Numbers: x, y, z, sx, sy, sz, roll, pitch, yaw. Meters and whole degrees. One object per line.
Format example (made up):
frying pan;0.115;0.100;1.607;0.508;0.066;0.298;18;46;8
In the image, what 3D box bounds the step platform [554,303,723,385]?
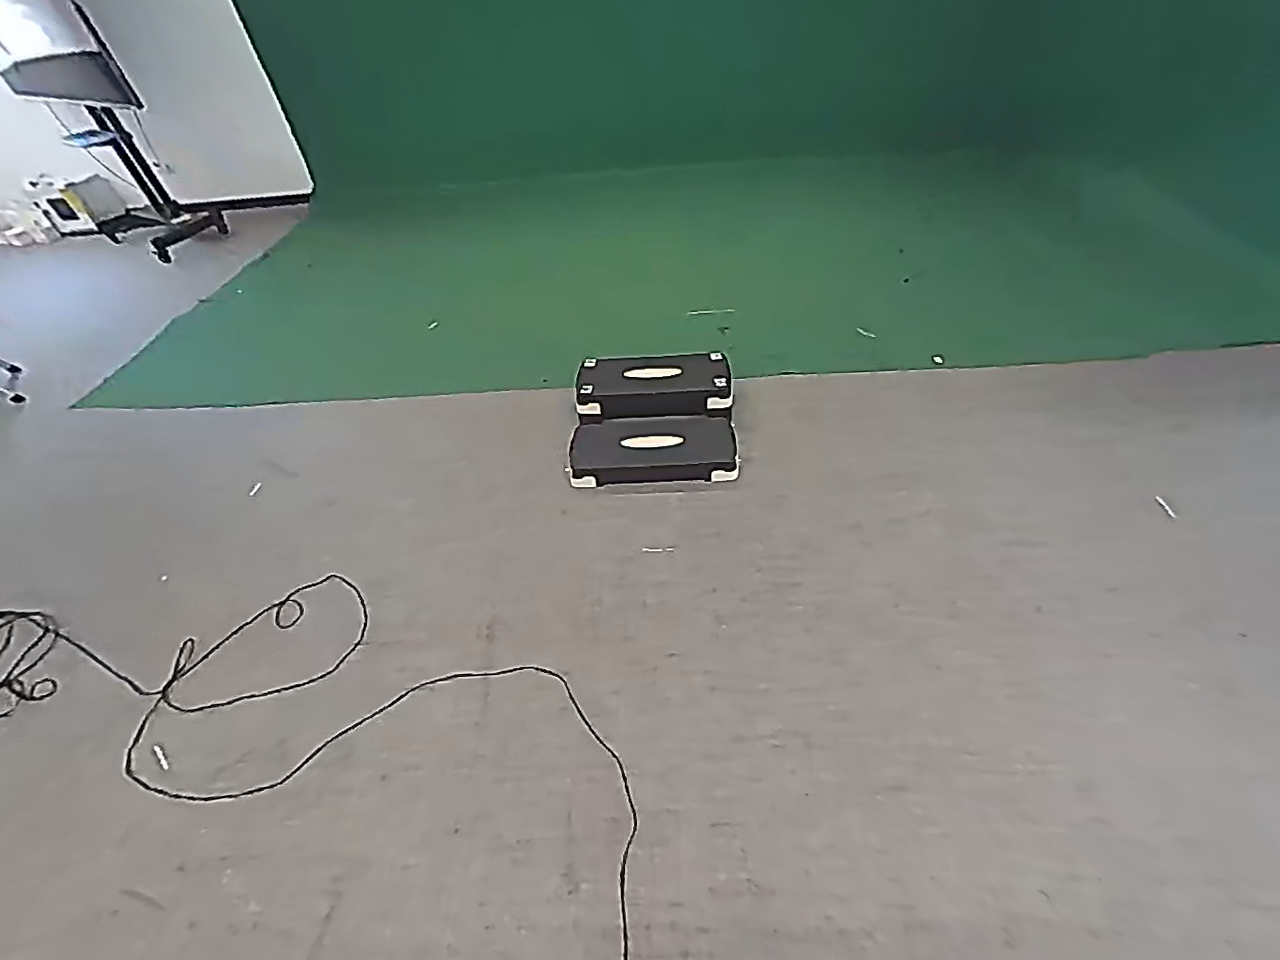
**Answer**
step platform;-0.001;-0.568;2.258;0.684;0.204;0.286;-3;46;4
